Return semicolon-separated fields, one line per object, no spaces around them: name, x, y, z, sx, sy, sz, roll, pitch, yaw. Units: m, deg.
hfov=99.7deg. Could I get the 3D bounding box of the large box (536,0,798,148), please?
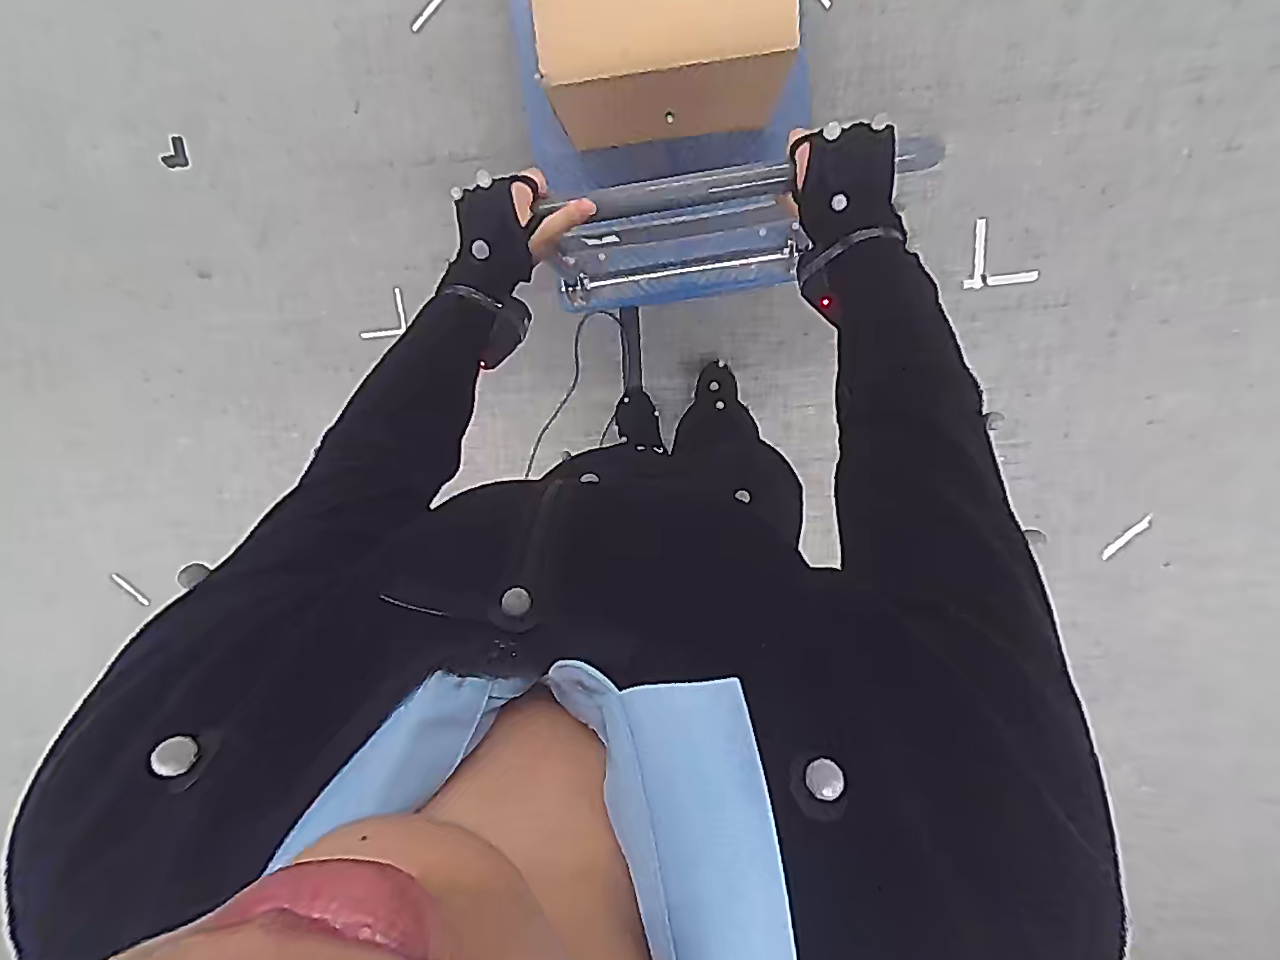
large box;0.042;-0.833;0.960;0.408;0.320;0.320;-5;103;5
